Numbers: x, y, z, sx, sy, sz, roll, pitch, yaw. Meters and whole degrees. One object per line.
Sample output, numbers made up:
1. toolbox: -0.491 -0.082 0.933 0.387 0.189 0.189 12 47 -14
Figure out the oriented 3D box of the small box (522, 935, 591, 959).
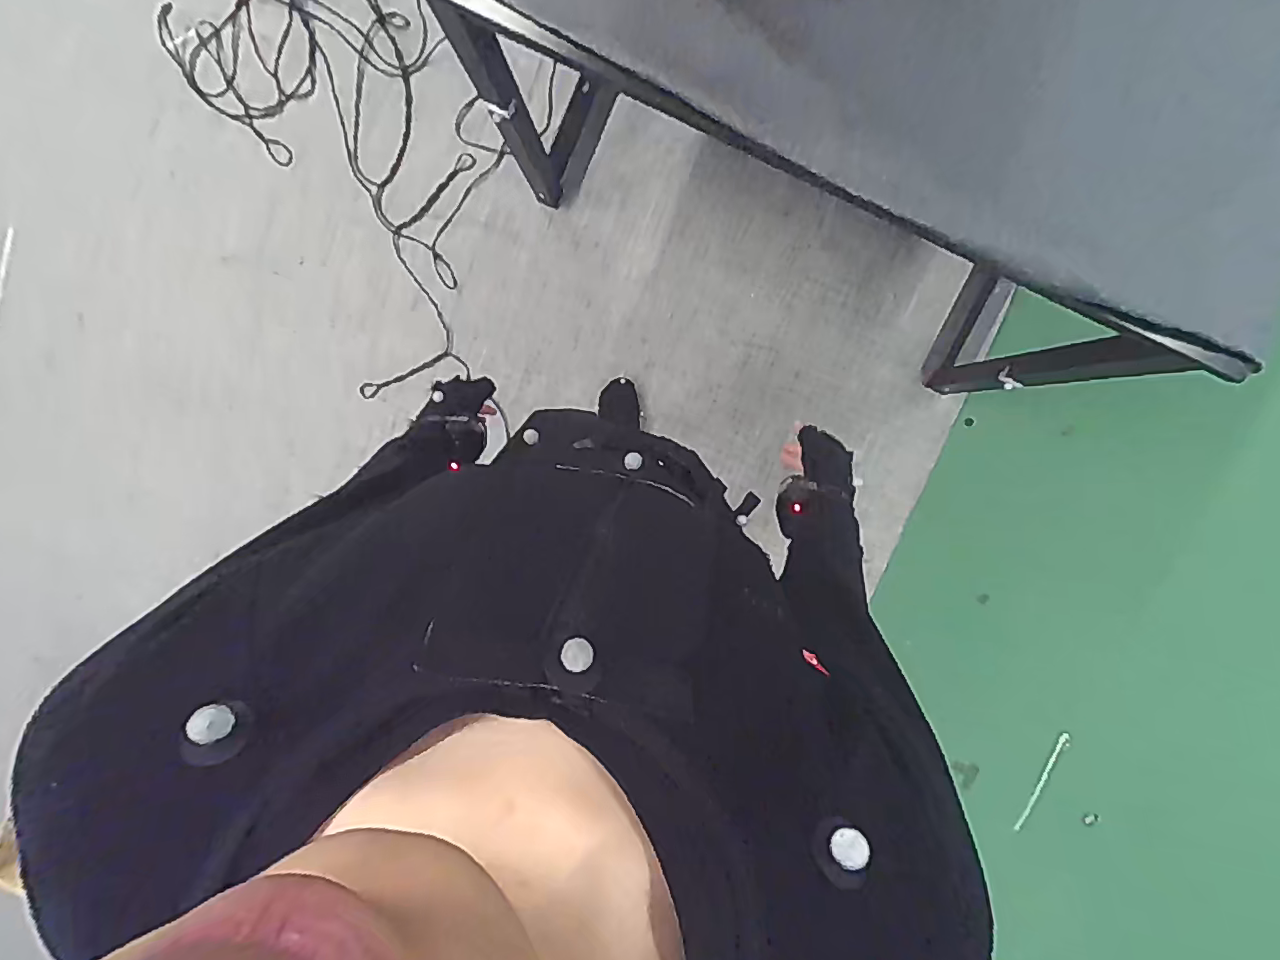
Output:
1. small box: -0.239 1.299 1.350 0.179 0.176 0.168 23 99 3
